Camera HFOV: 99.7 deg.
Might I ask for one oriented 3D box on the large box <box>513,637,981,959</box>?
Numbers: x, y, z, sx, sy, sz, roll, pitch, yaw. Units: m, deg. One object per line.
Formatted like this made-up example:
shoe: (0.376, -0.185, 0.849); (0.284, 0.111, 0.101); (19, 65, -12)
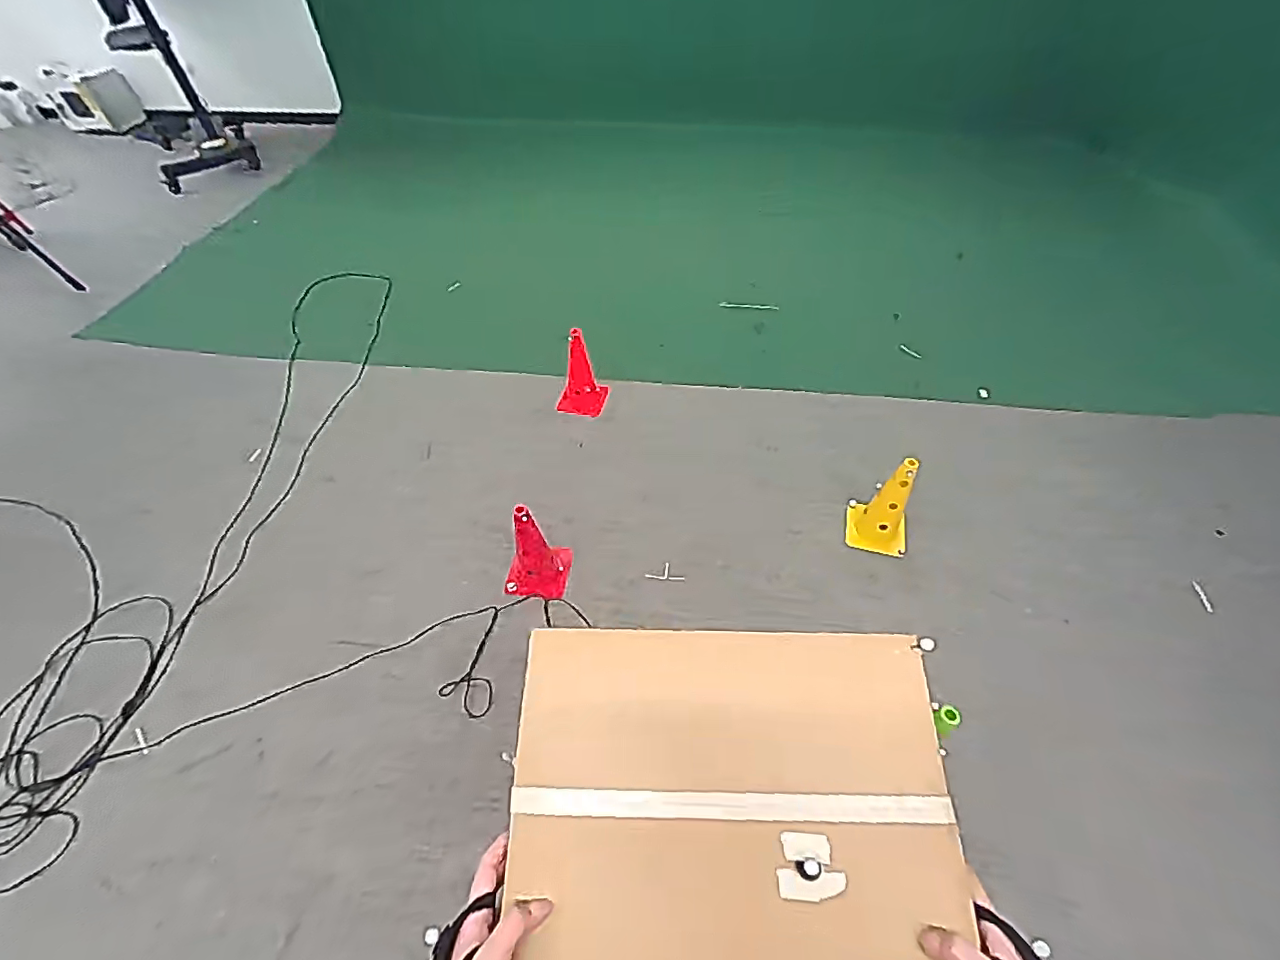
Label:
large box: (0.090, 0.374, 0.640); (0.408, 0.320, 0.320); (0, 64, 1)

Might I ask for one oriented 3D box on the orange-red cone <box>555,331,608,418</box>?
orange-red cone: (-0.263, -0.458, 2.256); (0.199, 0.360, 0.198); (9, 50, 11)
